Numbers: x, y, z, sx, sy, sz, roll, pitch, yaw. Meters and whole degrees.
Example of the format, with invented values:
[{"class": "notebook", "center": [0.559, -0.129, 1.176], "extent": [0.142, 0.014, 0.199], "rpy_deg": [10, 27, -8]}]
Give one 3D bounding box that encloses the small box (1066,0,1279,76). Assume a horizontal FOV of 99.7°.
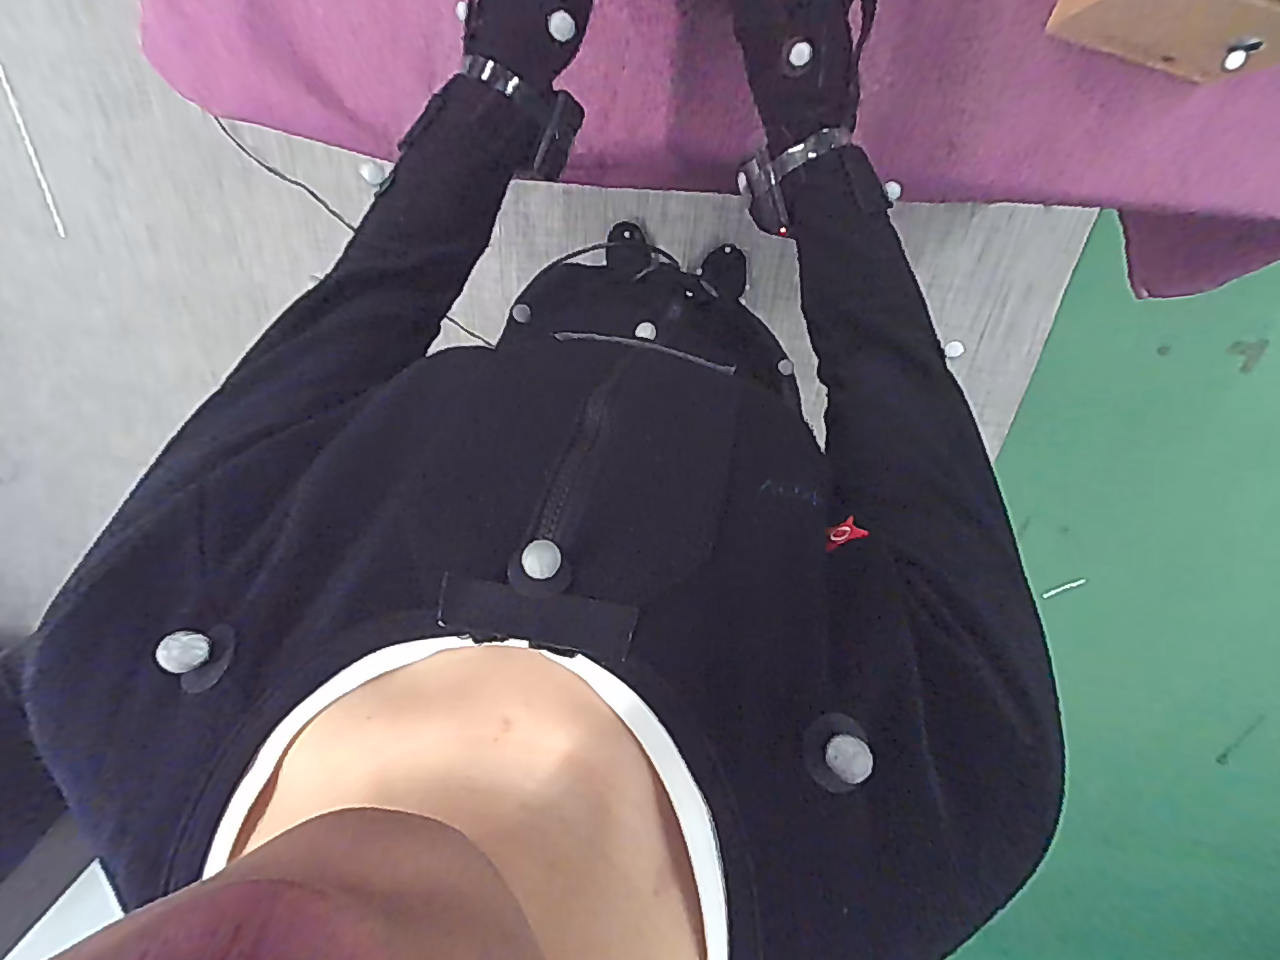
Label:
[{"class": "small box", "center": [0.465, -0.429, 0.391], "extent": [0.168, 0.176, 0.179], "rpy_deg": [17, 117, -2]}]
